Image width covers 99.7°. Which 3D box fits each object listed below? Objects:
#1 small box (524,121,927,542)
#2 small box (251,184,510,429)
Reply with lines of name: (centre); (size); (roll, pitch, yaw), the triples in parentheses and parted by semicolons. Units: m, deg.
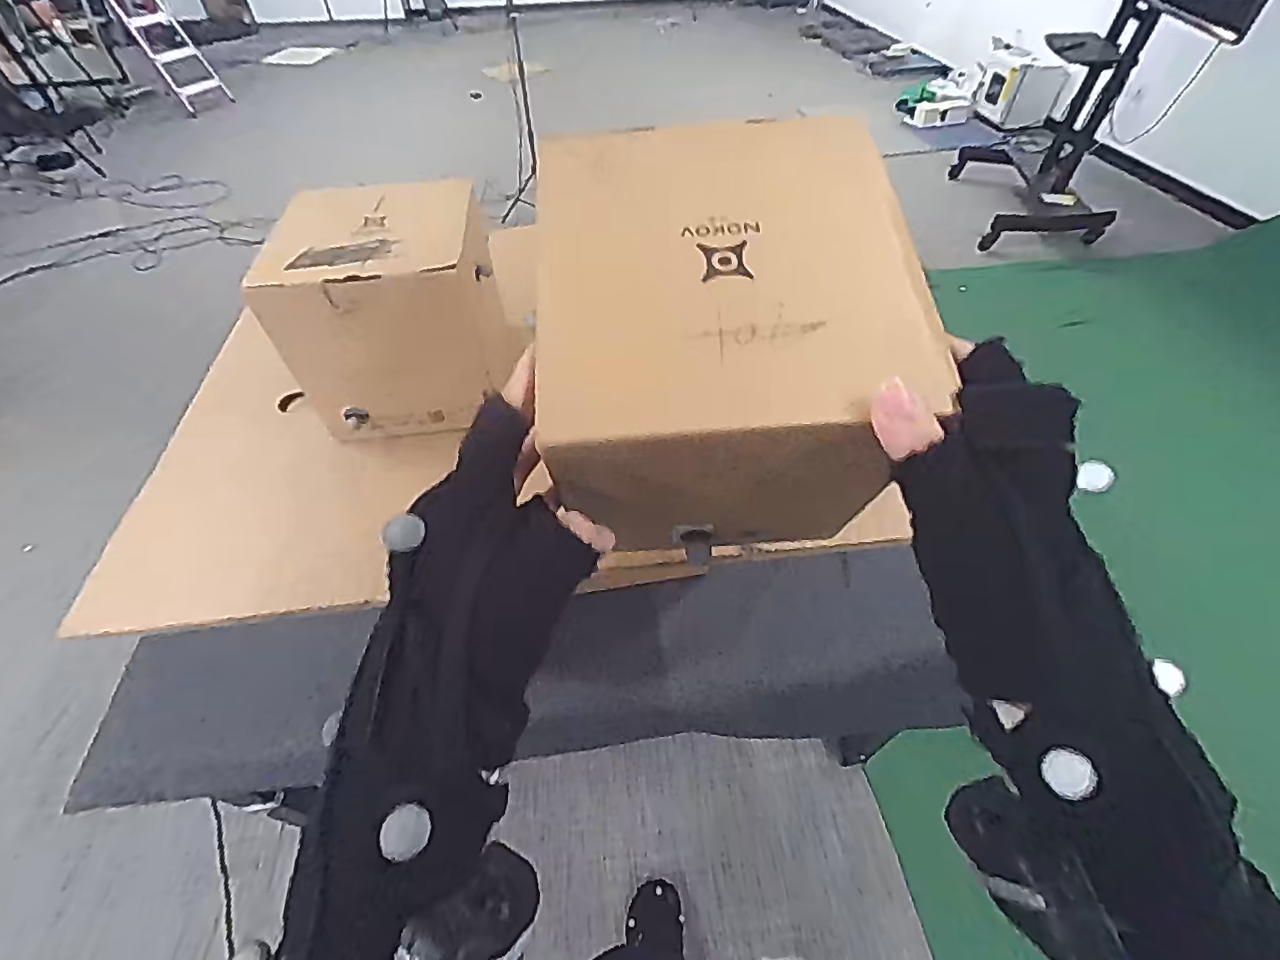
small box: (0.032, -0.073, 0.323); (0.168, 0.176, 0.179); (-4, 67, 1)
small box: (-0.228, -0.164, 0.535); (0.168, 0.176, 0.179); (-6, 50, -4)
